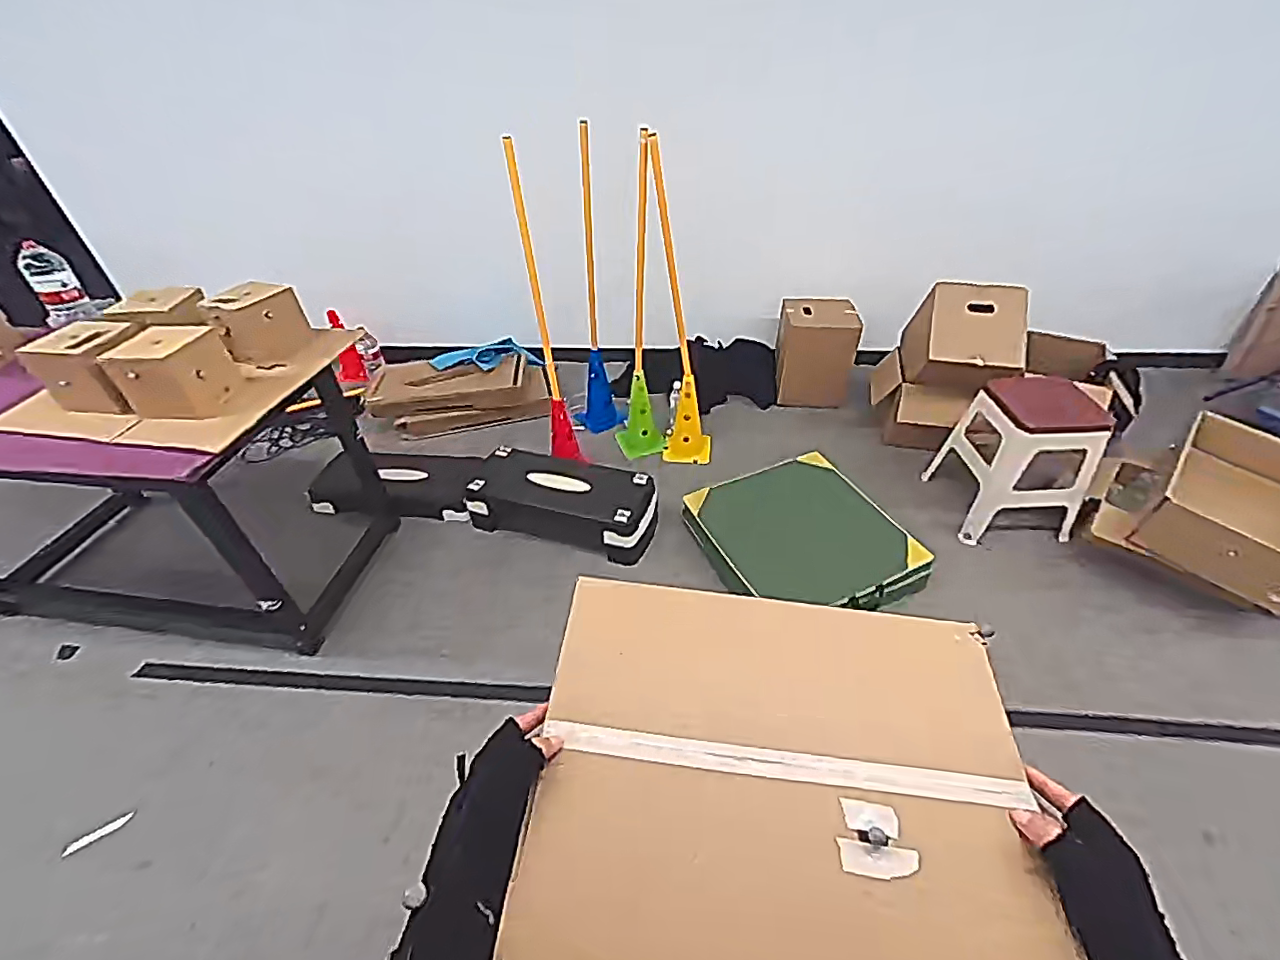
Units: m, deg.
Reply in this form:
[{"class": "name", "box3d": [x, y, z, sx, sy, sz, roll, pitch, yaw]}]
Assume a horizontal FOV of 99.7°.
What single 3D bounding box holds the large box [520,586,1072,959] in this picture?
[{"class": "large box", "box3d": [0.118, 0.343, 0.581, 0.408, 0.320, 0.320, 6, 49, 3]}]
